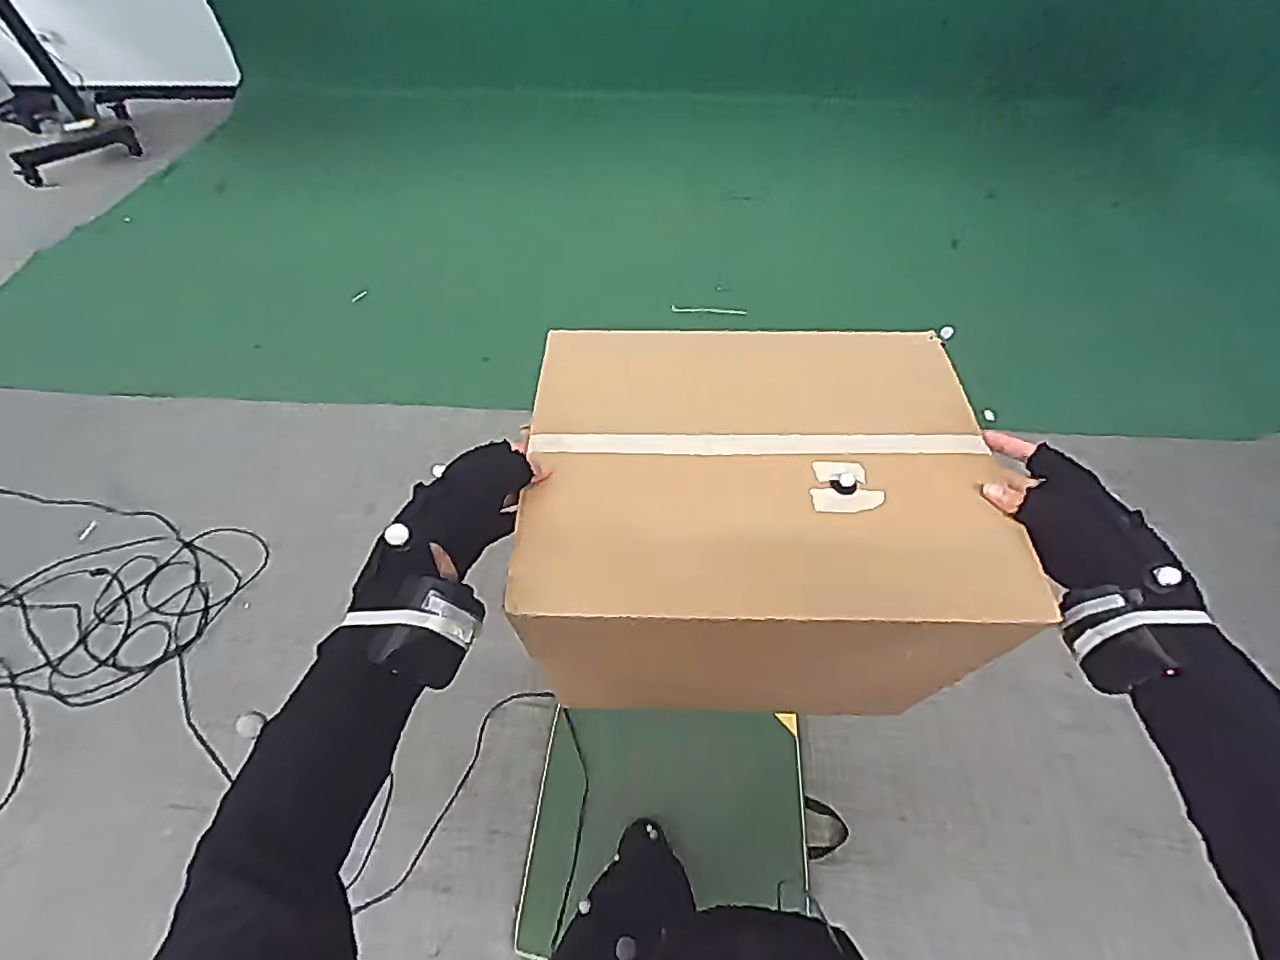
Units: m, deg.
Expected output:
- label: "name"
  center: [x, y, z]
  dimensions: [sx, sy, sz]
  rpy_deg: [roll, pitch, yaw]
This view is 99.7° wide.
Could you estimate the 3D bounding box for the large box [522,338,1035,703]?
- label: "large box"
  center: [0.104, 0.058, 0.618]
  dimensions: [0.408, 0.320, 0.320]
  rpy_deg: [1, 56, 0]
